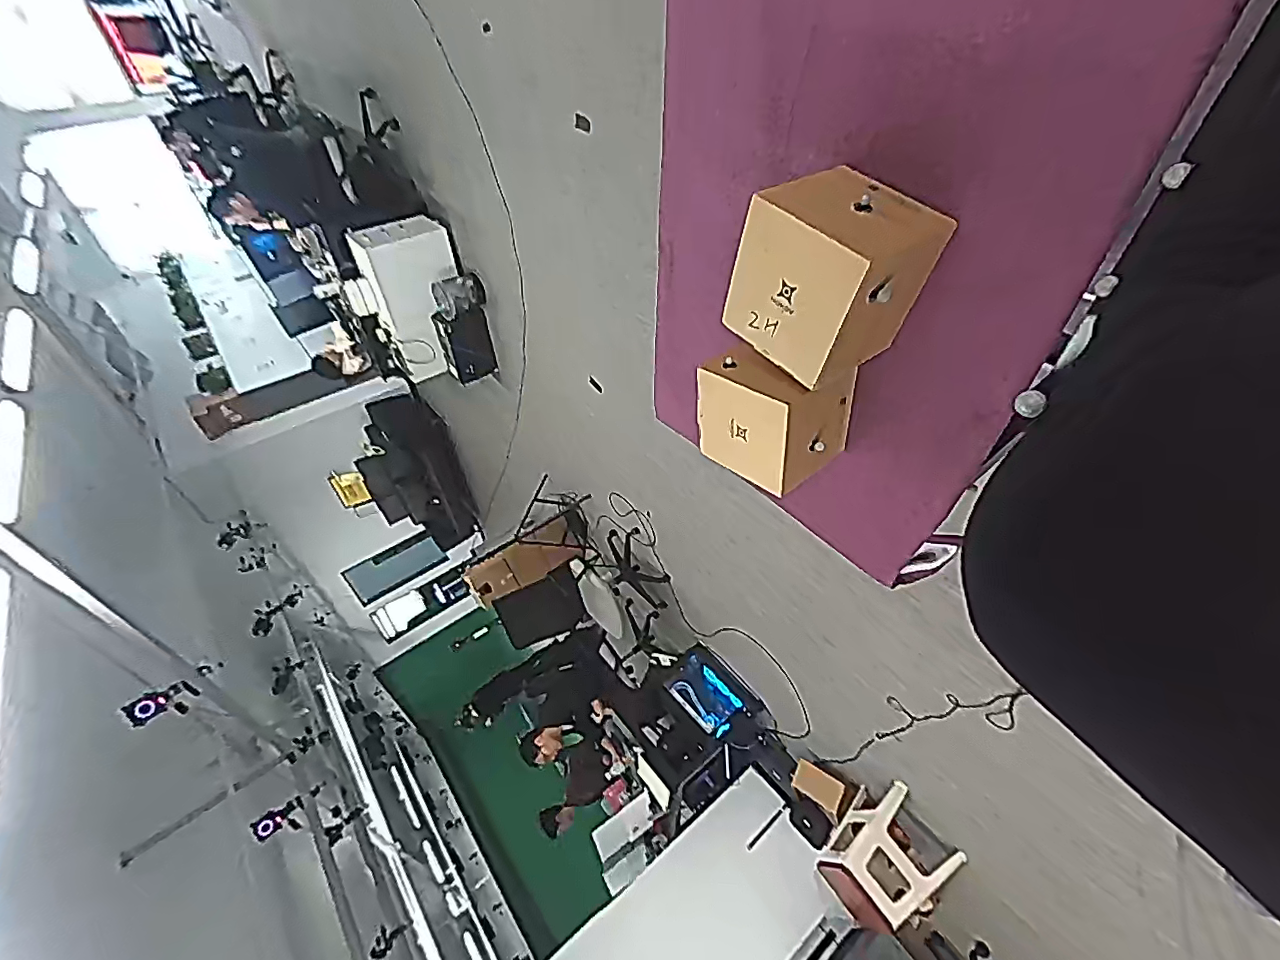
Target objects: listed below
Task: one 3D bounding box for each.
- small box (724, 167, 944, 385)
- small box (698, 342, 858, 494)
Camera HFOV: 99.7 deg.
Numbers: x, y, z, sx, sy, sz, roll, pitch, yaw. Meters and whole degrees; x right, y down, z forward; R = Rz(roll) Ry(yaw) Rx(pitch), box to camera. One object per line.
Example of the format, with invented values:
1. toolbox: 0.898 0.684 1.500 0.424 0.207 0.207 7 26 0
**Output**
1. small box: 0.233 -0.255 0.664 0.168 0.176 0.179 47 152 27
2. small box: 0.215 -0.114 0.848 0.179 0.176 0.168 34 144 41
